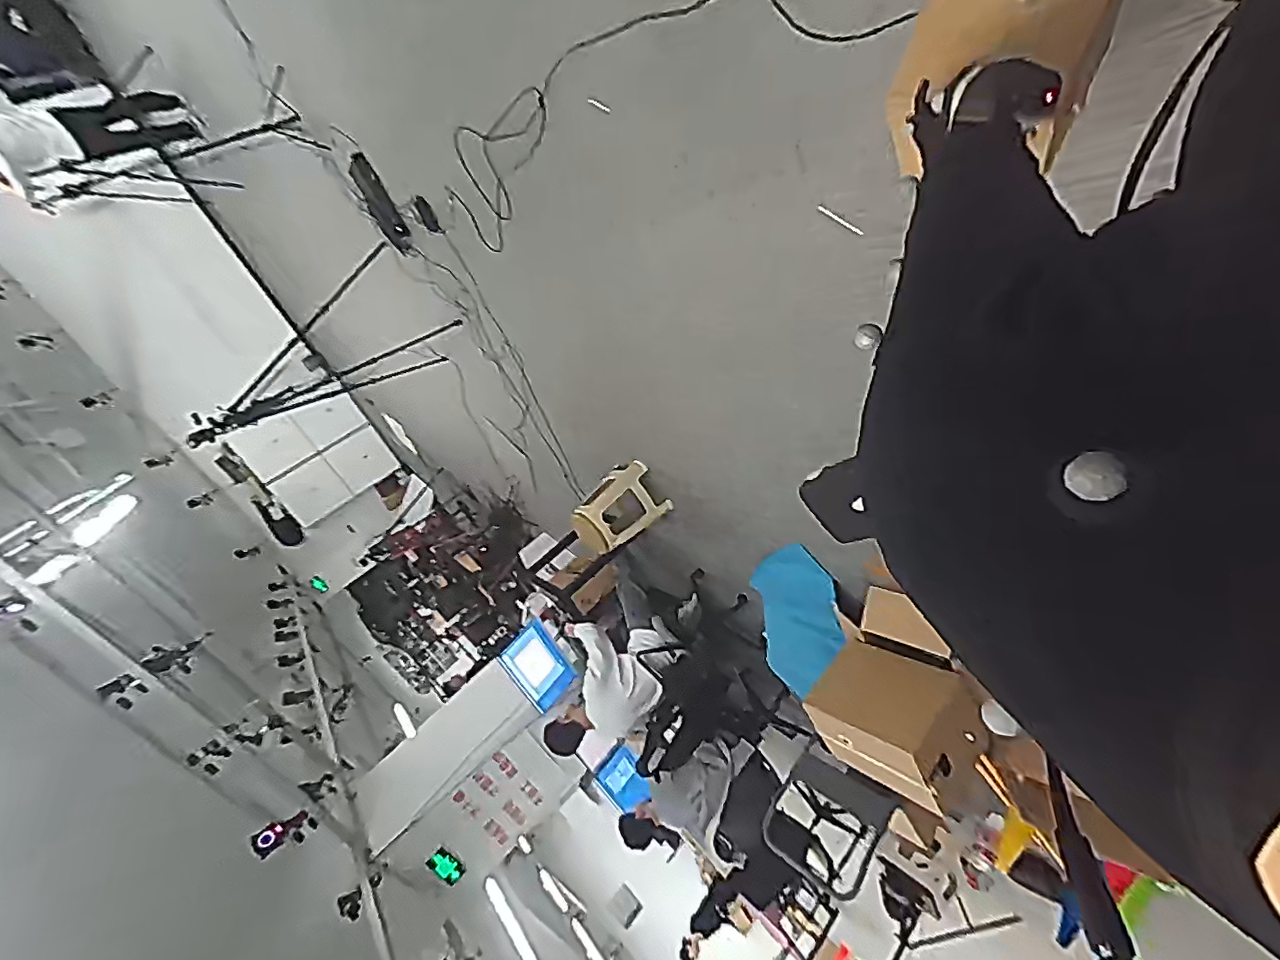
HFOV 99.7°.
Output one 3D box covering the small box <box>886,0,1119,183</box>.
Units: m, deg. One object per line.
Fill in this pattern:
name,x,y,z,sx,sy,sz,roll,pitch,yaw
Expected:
small box,0.402,-0.464,0.602,0.168,0.179,0.176,27,106,28
